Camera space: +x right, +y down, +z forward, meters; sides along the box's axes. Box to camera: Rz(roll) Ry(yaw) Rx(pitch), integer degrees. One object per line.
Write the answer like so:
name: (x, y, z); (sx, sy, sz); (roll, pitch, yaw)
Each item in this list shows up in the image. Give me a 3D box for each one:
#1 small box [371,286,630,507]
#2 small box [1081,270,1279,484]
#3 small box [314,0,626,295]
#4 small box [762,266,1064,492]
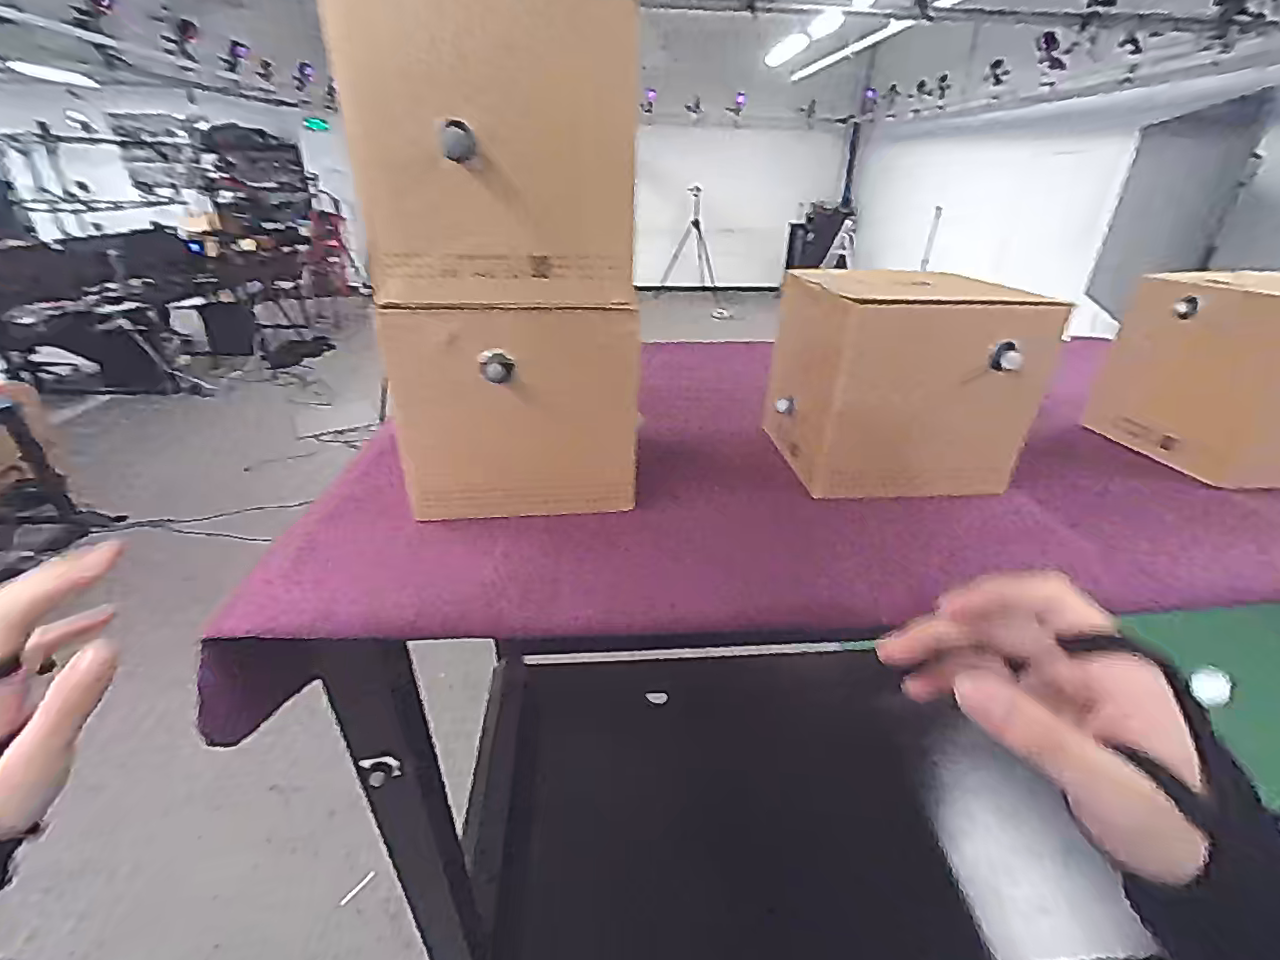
small box: (-0.103, -0.085, 0.469); (0.179, 0.176, 0.168); (-2, 29, -8)
small box: (0.598, -0.104, 0.530); (0.179, 0.176, 0.168); (-1, 27, -4)
small box: (-0.100, -0.230, 0.395); (0.168, 0.176, 0.179); (-3, 28, -8)
small box: (0.226, -0.098, 0.505); (0.179, 0.176, 0.168); (-1, 28, -4)
